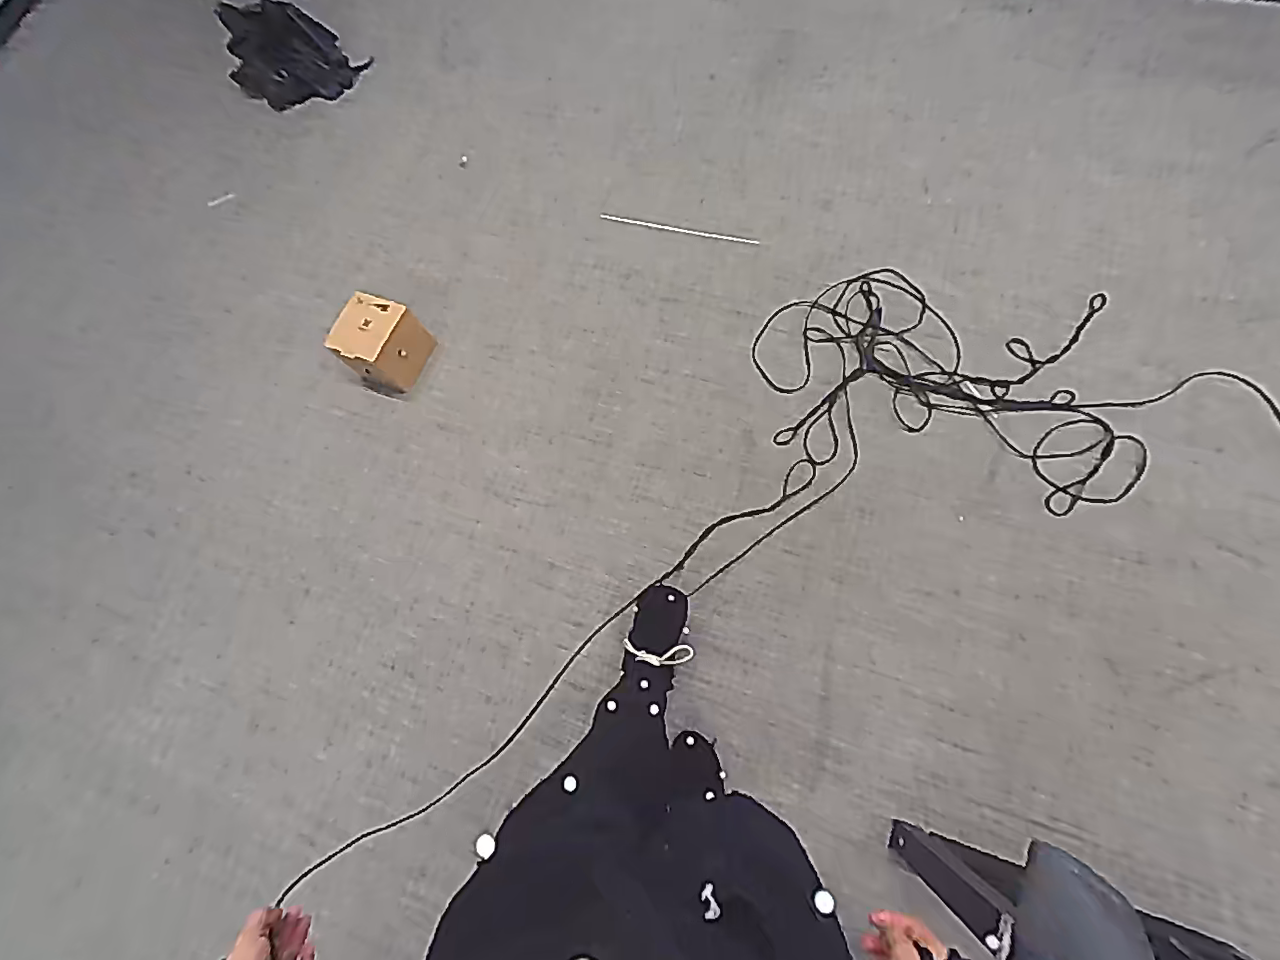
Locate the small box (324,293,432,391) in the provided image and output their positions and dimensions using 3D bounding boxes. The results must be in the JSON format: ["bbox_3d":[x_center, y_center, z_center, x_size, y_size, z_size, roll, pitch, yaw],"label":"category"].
[{"bbox_3d":[-0.699,-0.367,1.466,0.168,0.176,0.179,20,77,13],"label":"small box"}]
